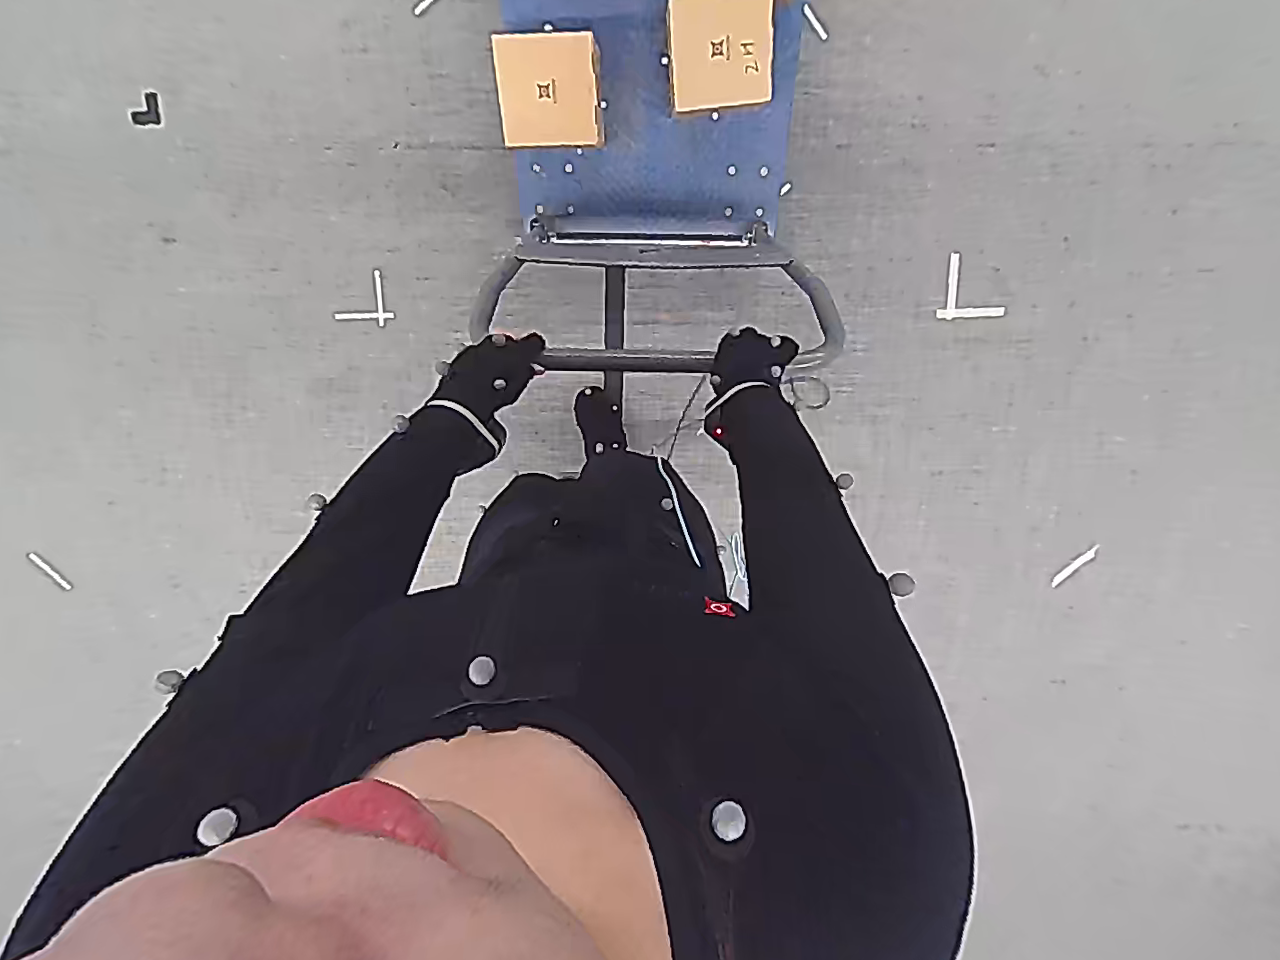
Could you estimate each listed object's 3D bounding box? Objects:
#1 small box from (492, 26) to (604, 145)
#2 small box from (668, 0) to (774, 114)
[{"bbox_3d":[-0.164,-0.737,1.026,0.179,0.176,0.168,-2,120,0],"label":"small box"},{"bbox_3d":[0.143,-0.785,0.992,0.179,0.176,0.168,-4,120,3],"label":"small box"}]
